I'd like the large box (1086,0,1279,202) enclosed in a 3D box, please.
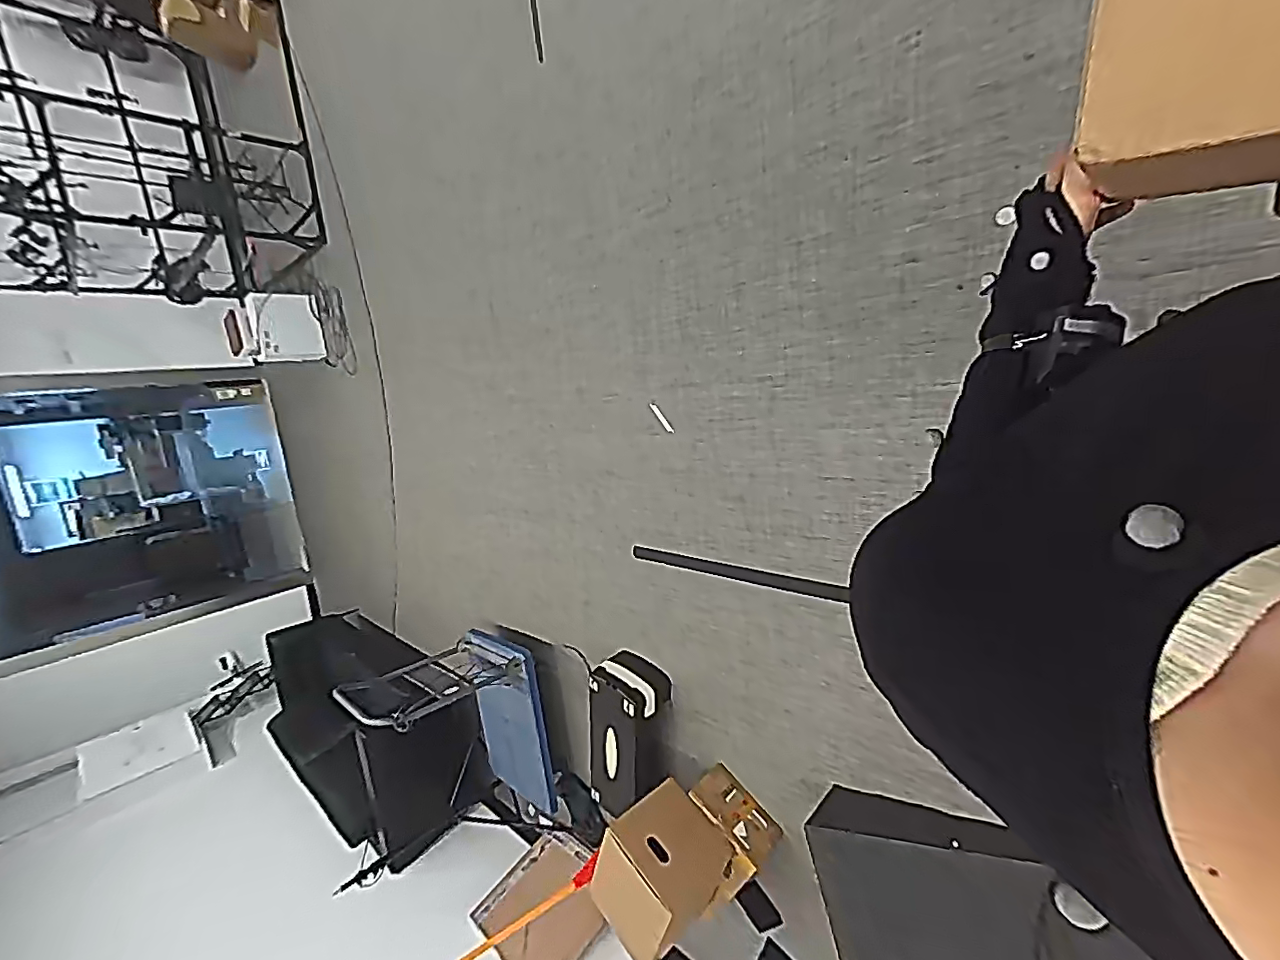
[{"bbox_3d":[0.428,-0.309,0.180,0.408,0.320,0.320,10,115,38],"label":"large box"}]
